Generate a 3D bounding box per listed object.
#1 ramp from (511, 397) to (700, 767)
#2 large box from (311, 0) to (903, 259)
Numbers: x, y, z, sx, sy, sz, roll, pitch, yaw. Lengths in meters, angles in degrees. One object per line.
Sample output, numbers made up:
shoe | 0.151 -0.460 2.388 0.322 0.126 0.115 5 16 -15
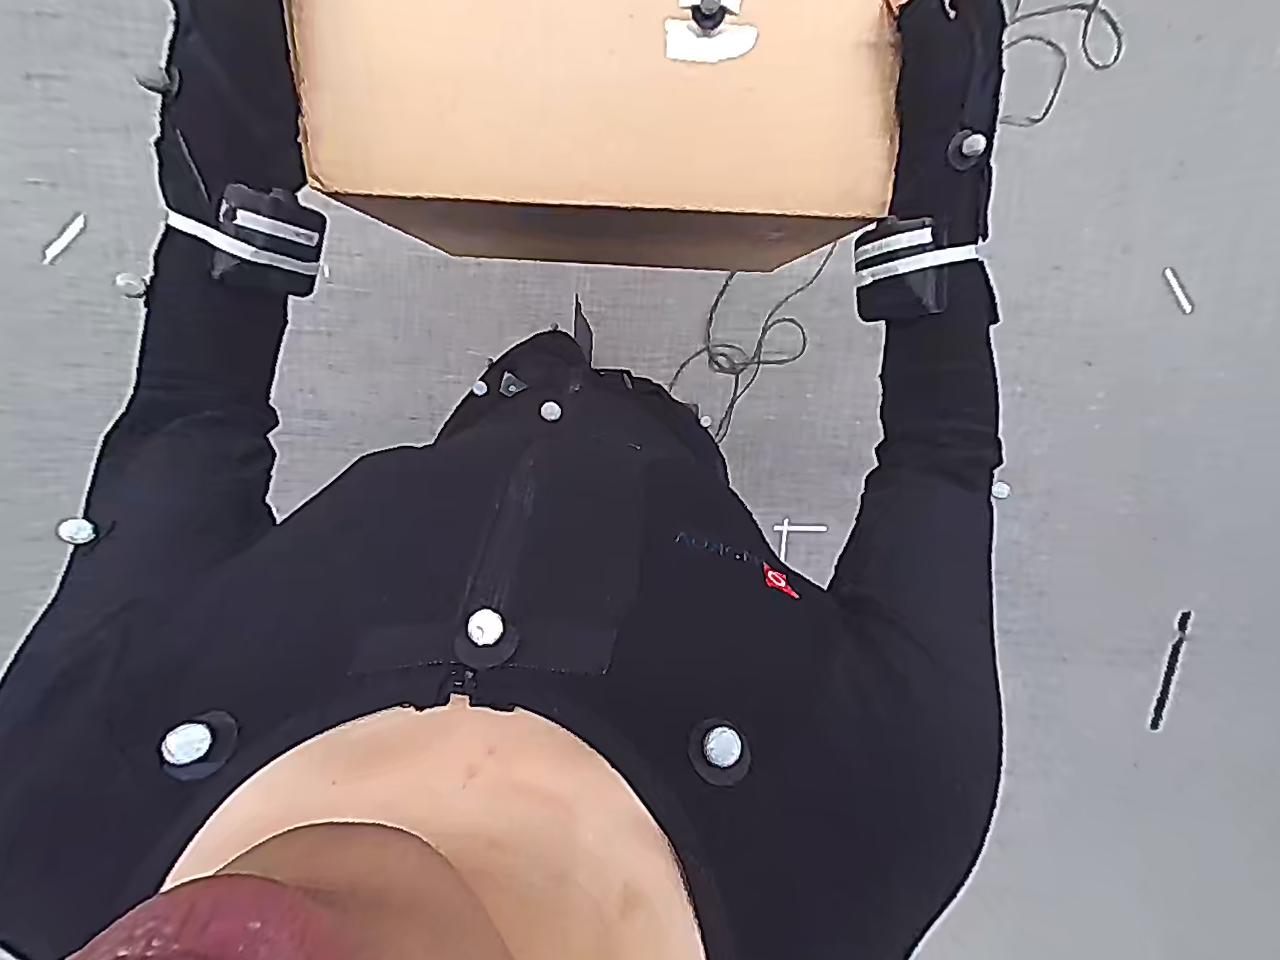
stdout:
ramp | -0.095 0.279 1.479 0.509 0.206 0.991 1 100 -1
large box | -0.024 -0.394 0.497 0.408 0.320 0.320 1 105 -3
